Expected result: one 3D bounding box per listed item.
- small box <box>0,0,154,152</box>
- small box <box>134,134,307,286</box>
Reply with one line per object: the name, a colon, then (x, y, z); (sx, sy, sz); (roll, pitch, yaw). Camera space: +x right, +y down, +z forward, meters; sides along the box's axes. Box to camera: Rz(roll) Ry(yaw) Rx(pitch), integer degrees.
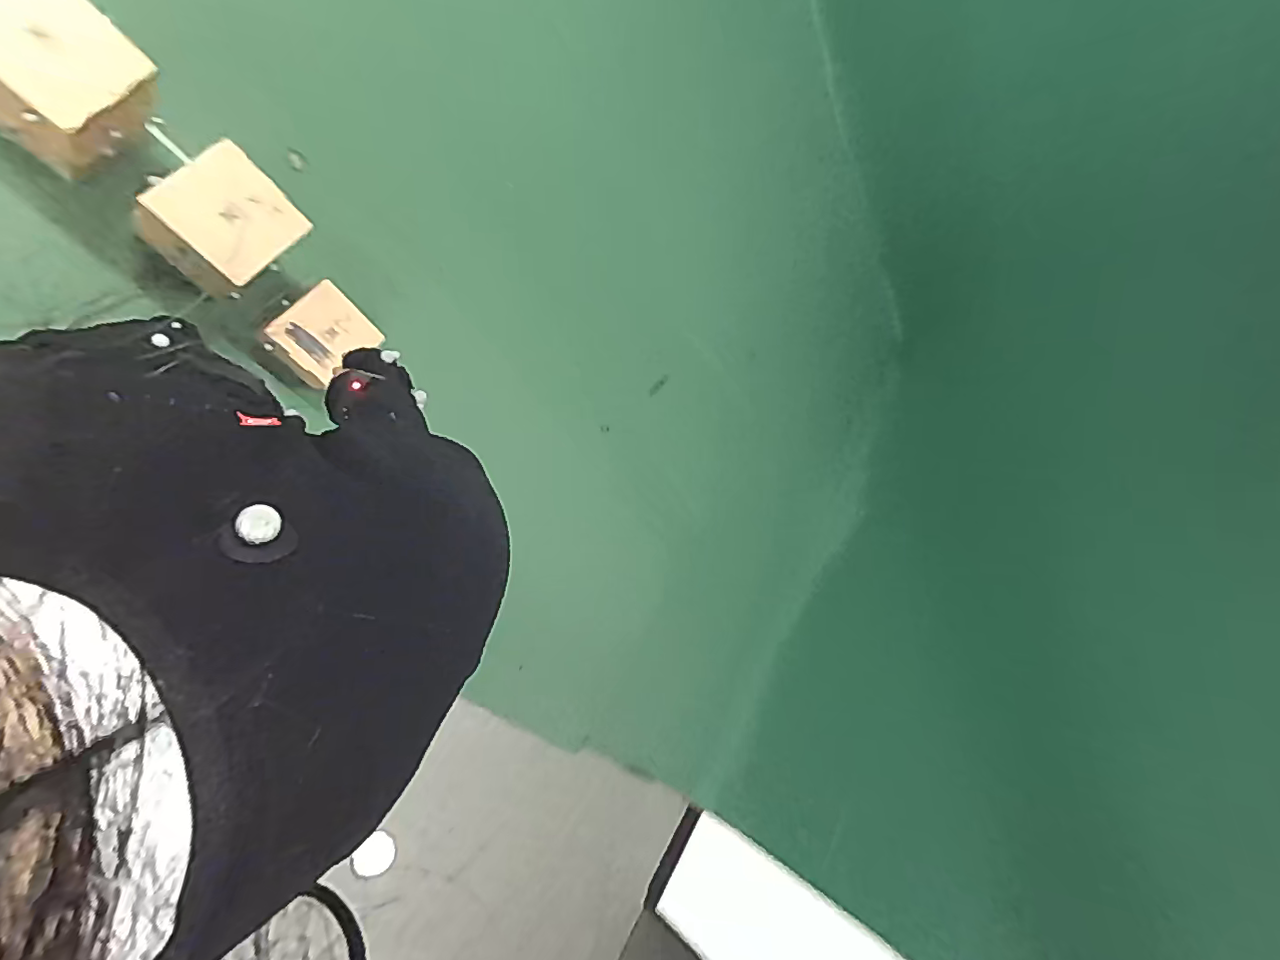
small box: (-0.876, -0.629, 0.797); (0.179, 0.176, 0.168); (48, 66, -39)
small box: (-0.741, -0.467, 0.961); (0.179, 0.176, 0.168); (-54, 131, -20)
